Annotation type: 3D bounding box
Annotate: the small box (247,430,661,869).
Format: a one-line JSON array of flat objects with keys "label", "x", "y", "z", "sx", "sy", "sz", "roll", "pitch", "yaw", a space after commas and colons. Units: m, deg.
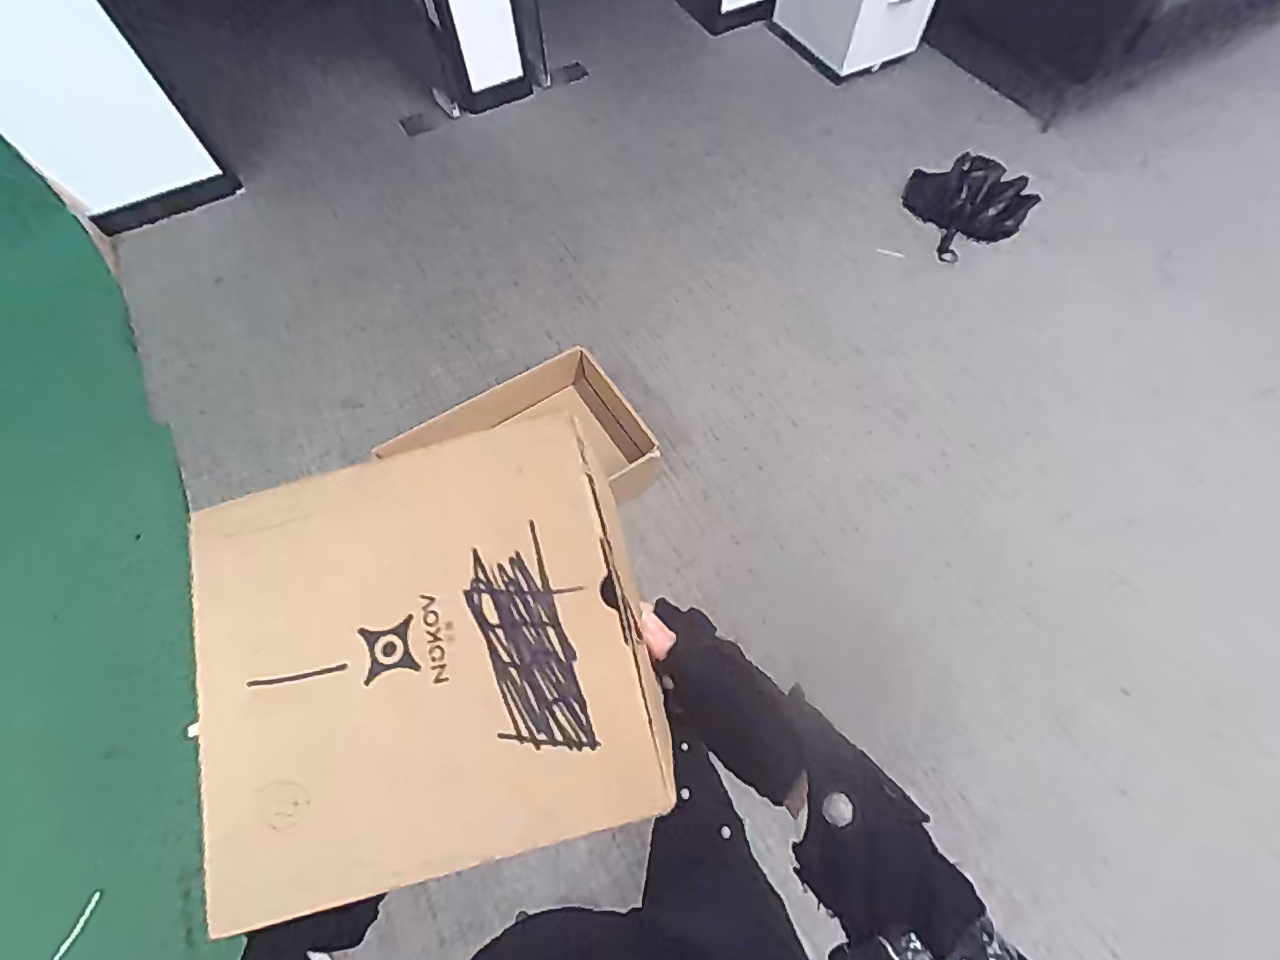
[{"label": "small box", "x": -0.089, "y": 0.089, "z": 0.327, "sx": 0.179, "sy": 0.176, "sz": 0.168, "roll": -14, "pitch": 74, "yaw": 0}]
